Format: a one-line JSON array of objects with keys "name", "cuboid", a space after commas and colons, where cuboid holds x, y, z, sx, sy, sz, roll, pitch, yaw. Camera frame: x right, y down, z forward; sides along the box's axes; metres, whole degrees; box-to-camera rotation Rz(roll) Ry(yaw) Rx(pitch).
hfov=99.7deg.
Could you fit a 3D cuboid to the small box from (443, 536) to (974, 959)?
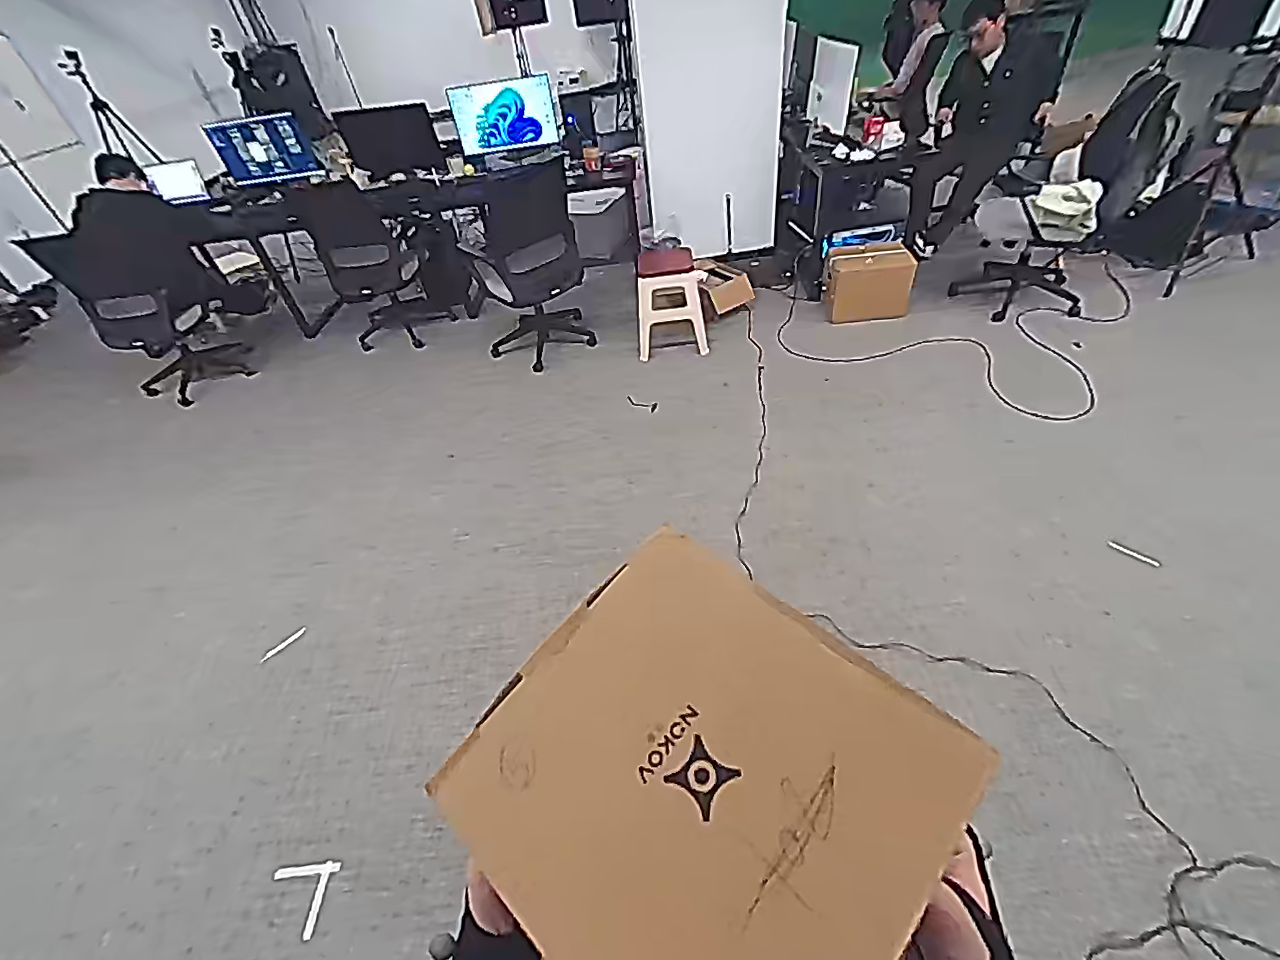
[{"name": "small box", "cuboid": [0.035, 0.169, 0.300, 0.179, 0.176, 0.168, 31, 67, 27]}]
